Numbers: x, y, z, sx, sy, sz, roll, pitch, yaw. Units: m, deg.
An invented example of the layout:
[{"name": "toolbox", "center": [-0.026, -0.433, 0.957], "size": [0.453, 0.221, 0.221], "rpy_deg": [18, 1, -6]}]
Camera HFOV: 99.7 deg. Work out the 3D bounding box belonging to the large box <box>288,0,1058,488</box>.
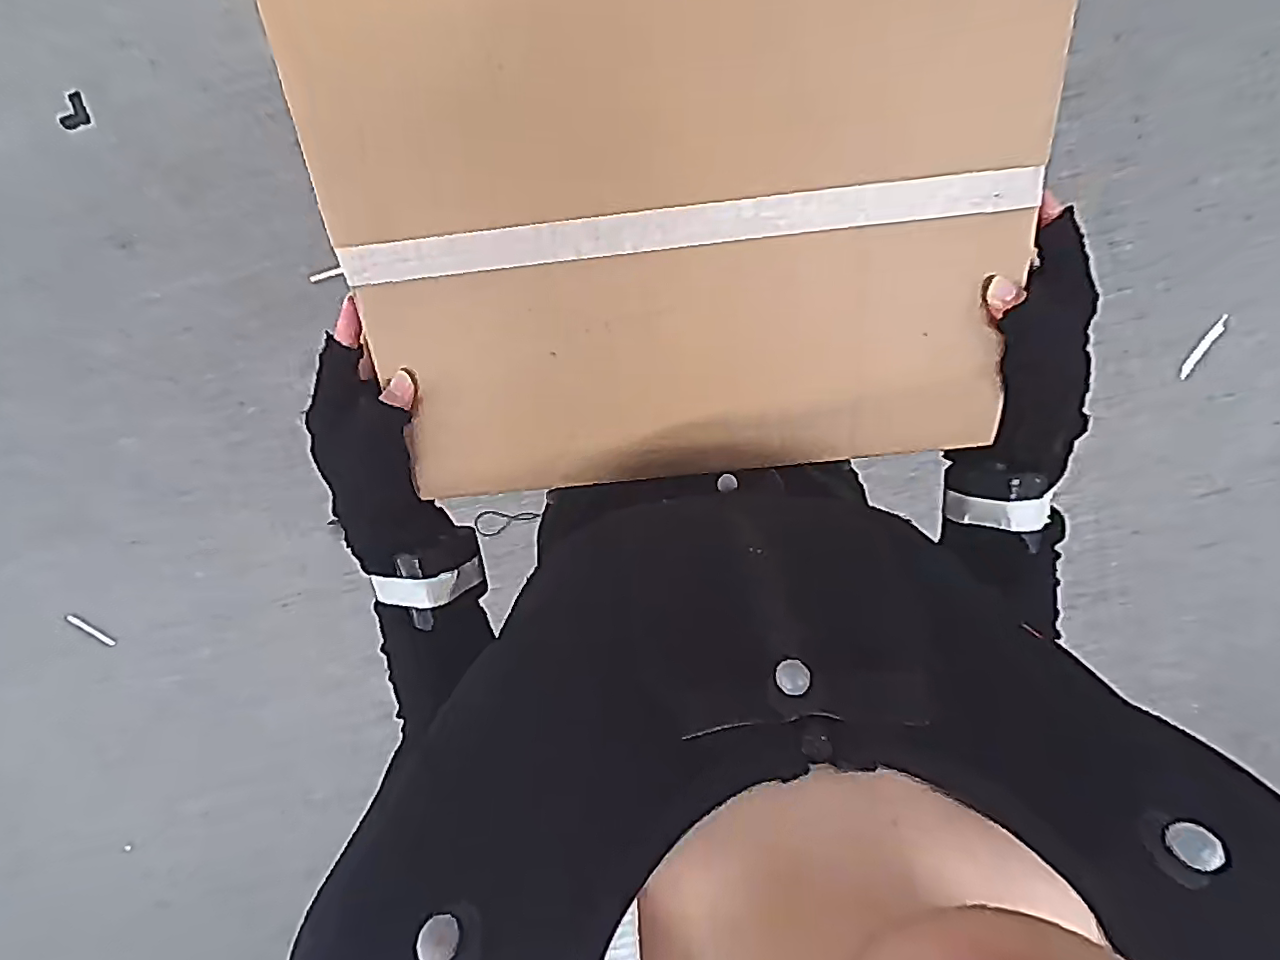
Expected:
[{"name": "large box", "center": [0.026, -0.213, 0.460], "size": [0.408, 0.320, 0.320], "rpy_deg": [-5, 116, 1]}]
